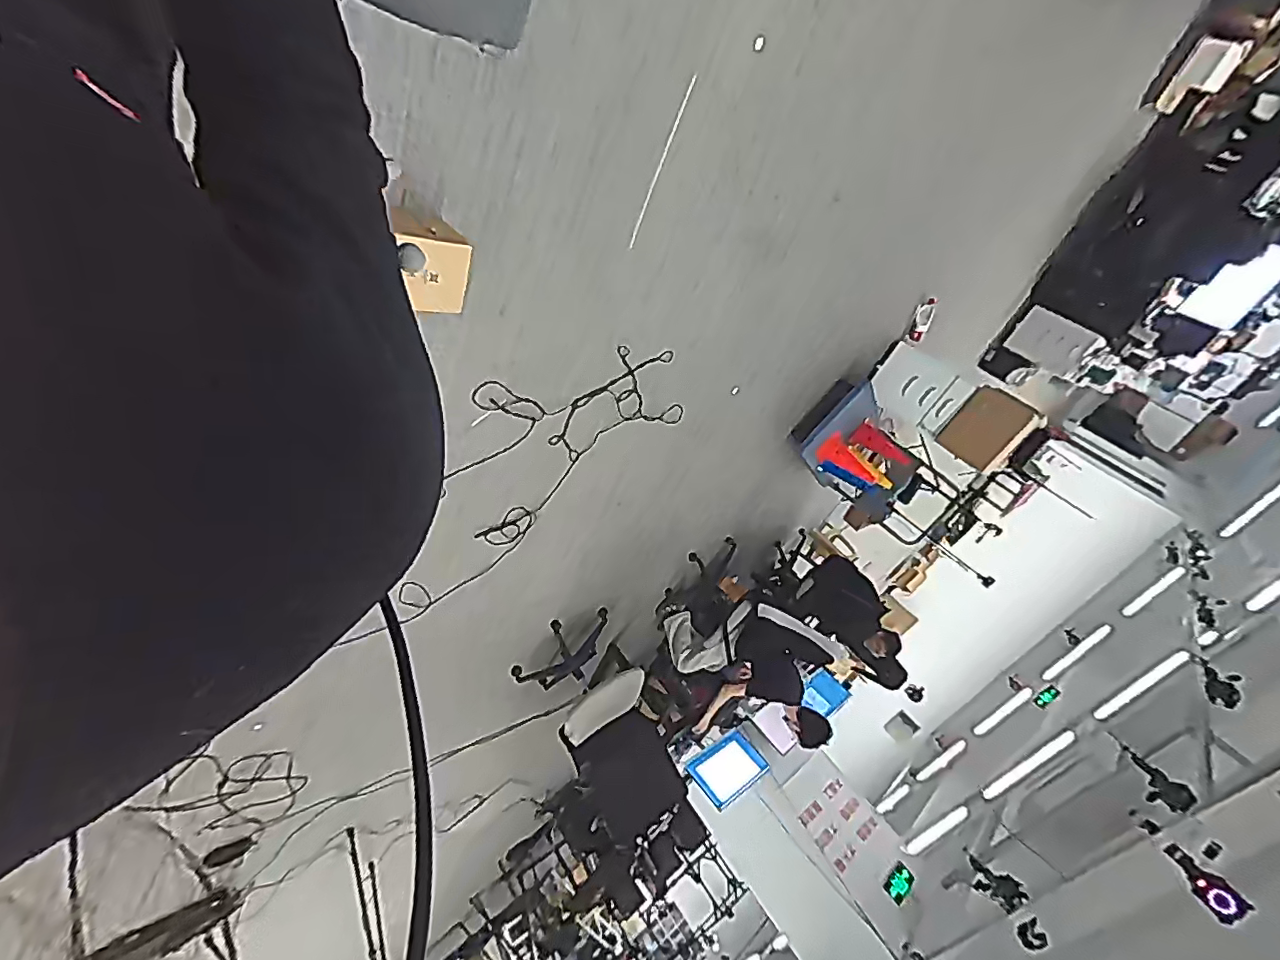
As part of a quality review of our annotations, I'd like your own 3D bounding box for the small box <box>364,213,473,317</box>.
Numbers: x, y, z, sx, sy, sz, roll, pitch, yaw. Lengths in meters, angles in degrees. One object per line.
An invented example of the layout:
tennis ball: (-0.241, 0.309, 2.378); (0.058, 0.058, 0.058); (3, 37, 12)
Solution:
small box: (-0.515, -0.496, 1.252); (0.179, 0.176, 0.168); (-11, 135, -42)
